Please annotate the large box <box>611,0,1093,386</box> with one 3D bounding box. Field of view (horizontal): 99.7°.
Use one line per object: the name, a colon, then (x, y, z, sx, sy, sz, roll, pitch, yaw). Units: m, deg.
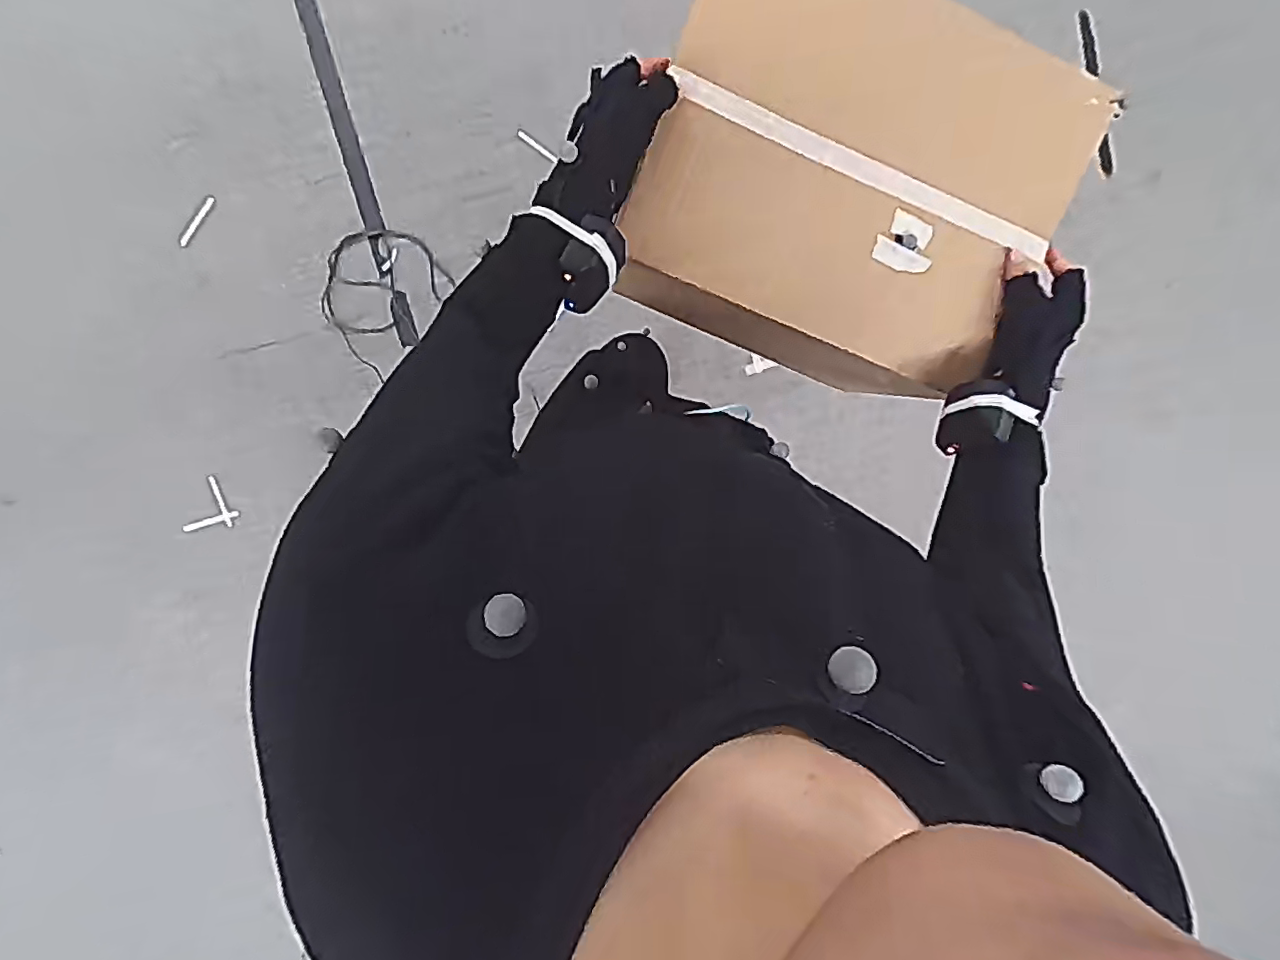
large box: (0.198, -0.335, 0.676, 0.408, 0.320, 0.320, 21, 101, -7)
